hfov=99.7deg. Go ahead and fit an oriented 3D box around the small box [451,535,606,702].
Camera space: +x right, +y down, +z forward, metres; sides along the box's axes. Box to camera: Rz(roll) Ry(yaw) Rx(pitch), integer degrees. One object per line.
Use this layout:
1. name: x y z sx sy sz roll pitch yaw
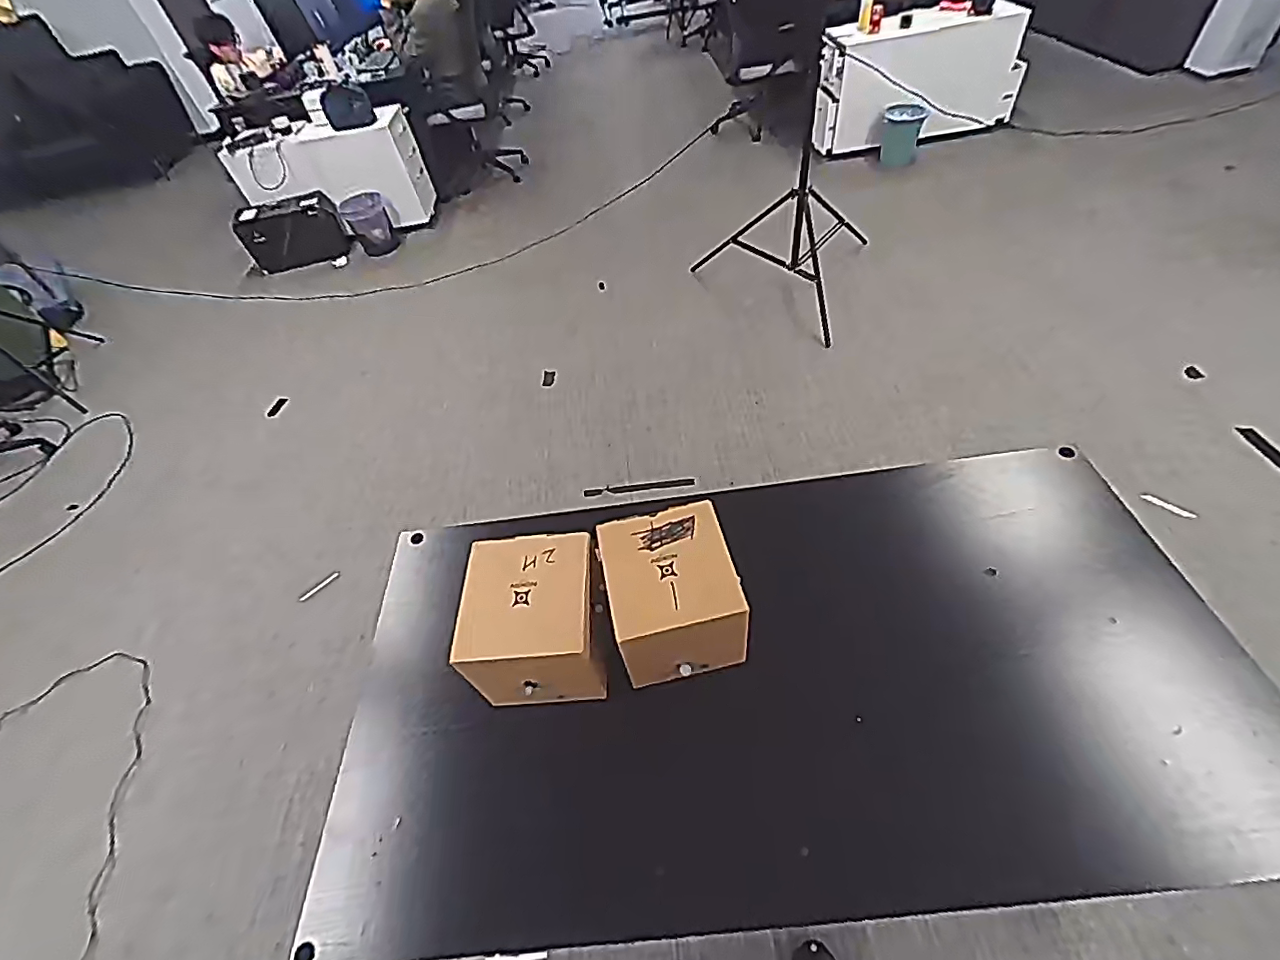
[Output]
1. small box: -0.141 0.202 0.762 0.168 0.176 0.179 -6 49 4
